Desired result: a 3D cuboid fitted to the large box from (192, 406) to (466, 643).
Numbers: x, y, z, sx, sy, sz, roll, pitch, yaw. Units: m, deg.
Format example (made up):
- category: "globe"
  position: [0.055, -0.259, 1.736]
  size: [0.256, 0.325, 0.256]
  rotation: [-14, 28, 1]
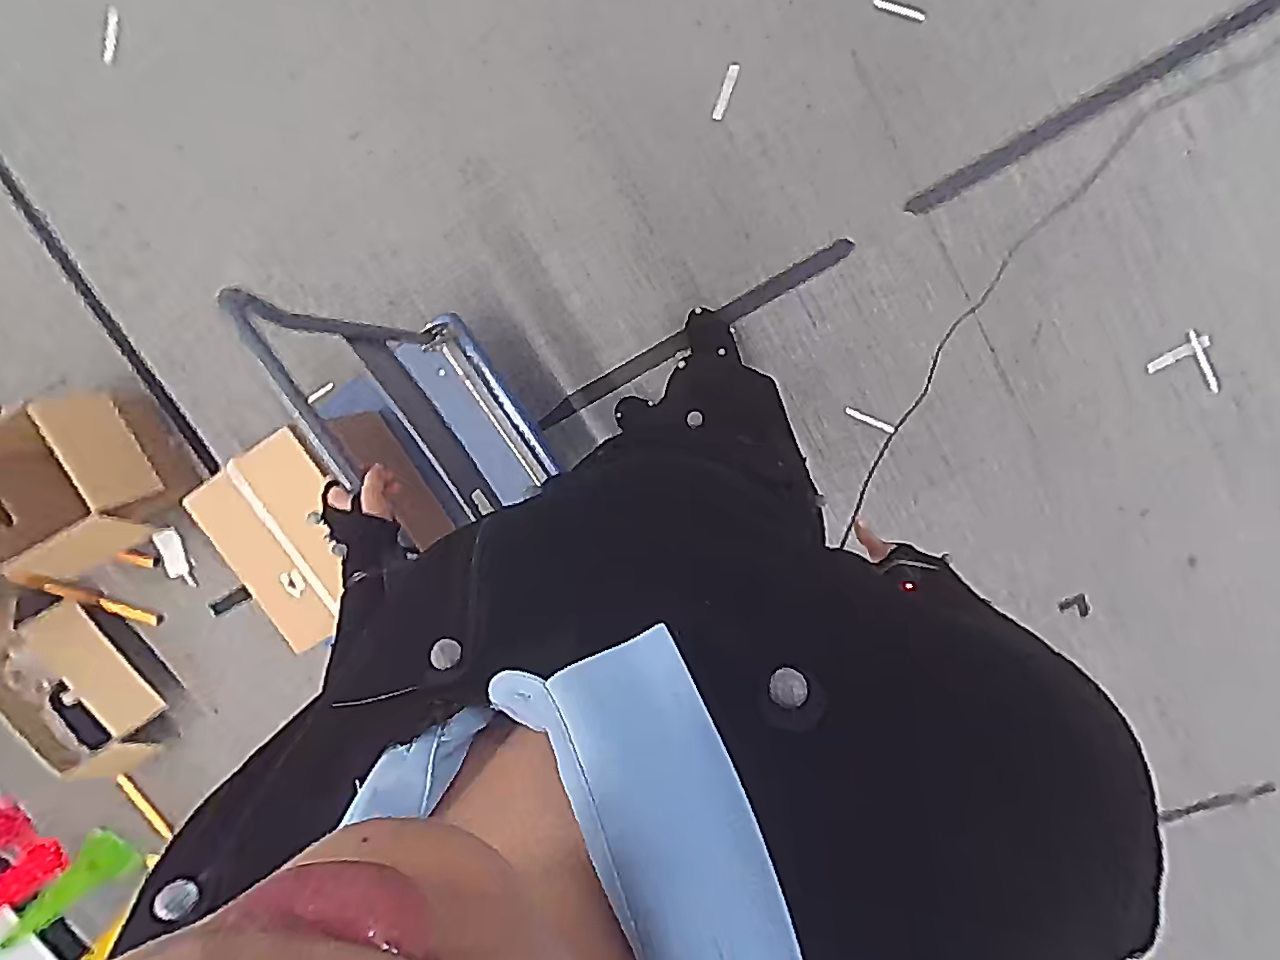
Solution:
- category: "large box"
  position: [-0.693, 0.085, 1.272]
  size: [0.320, 0.320, 0.408]
  rotation: [-31, 99, 13]
